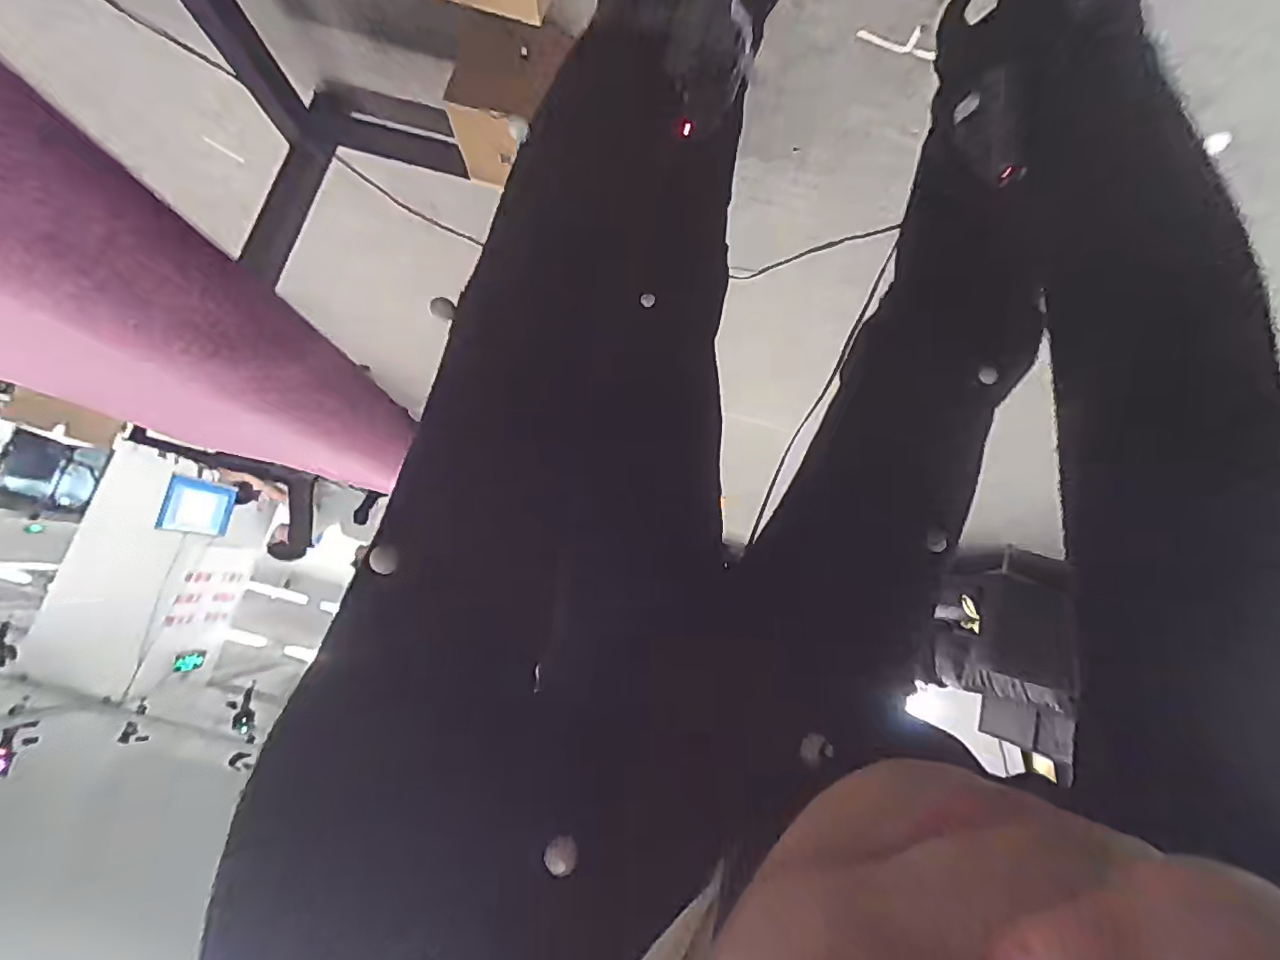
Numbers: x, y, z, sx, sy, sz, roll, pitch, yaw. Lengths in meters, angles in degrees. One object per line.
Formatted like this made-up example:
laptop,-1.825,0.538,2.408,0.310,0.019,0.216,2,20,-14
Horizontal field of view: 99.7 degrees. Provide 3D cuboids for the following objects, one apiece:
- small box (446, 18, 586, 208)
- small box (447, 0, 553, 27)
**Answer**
small box,-0.193,-0.601,0.900,0.168,0.176,0.179,16,169,1
small box,-0.168,-0.658,0.581,0.168,0.176,0.179,17,170,0
